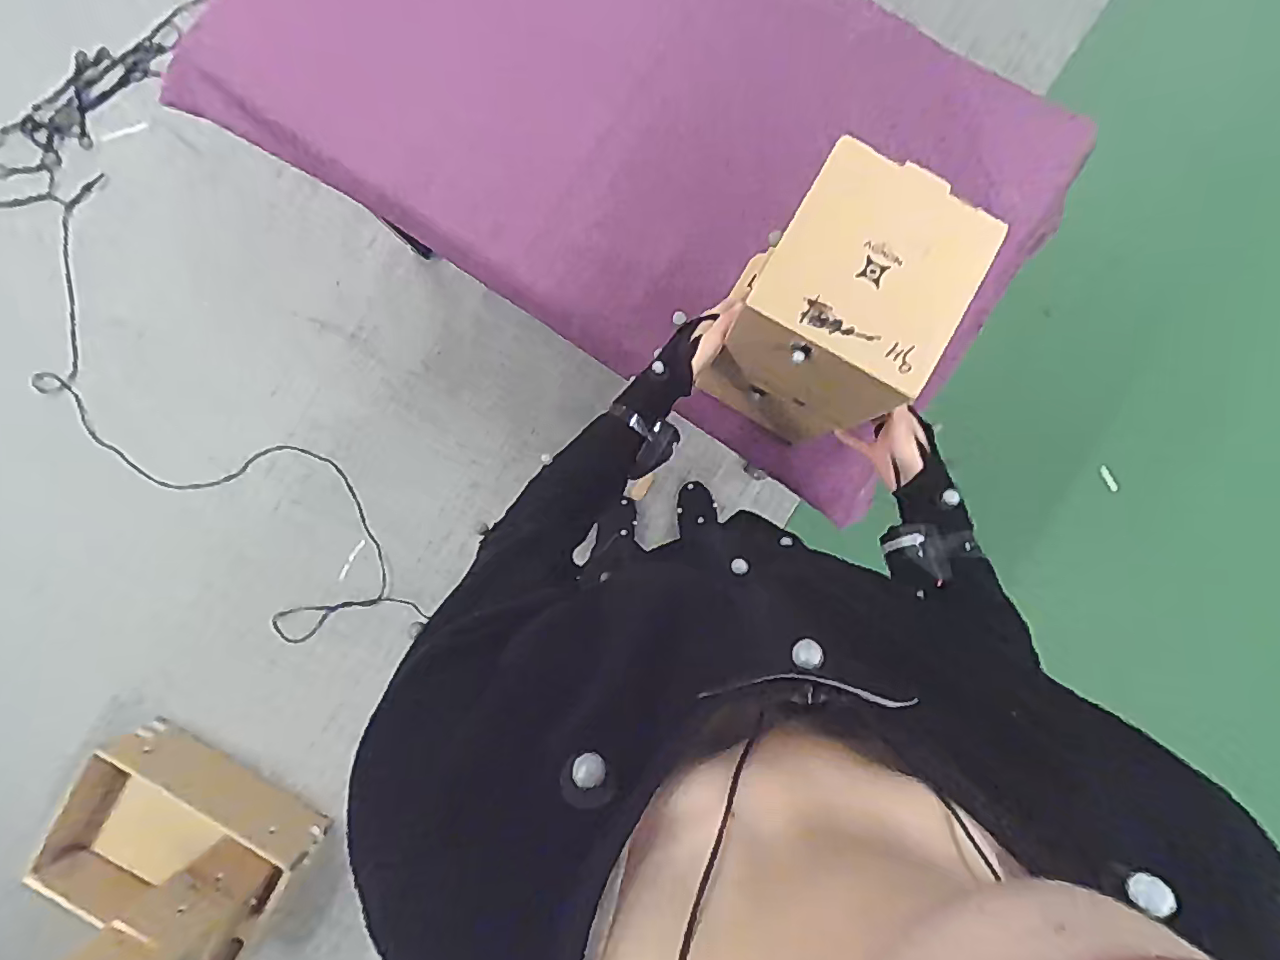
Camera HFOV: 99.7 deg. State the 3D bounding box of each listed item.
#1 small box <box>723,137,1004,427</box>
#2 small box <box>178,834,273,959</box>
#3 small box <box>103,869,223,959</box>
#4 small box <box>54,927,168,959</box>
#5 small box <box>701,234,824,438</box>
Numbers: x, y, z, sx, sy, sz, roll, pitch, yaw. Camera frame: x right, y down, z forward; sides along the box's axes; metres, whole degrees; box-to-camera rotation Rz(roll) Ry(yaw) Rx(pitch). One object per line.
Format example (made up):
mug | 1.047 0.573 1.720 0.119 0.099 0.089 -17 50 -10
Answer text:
small box | 0.198 -0.176 0.535 0.168 0.176 0.179 31 86 3
small box | -1.131 1.091 1.434 0.179 0.176 0.168 27 90 3
small box | -1.140 1.076 1.271 0.168 0.176 0.179 31 89 3
small box | -1.144 1.077 1.108 0.179 0.176 0.168 24 89 2
small box | 0.195 -0.170 0.700 0.179 0.176 0.168 31 87 2
